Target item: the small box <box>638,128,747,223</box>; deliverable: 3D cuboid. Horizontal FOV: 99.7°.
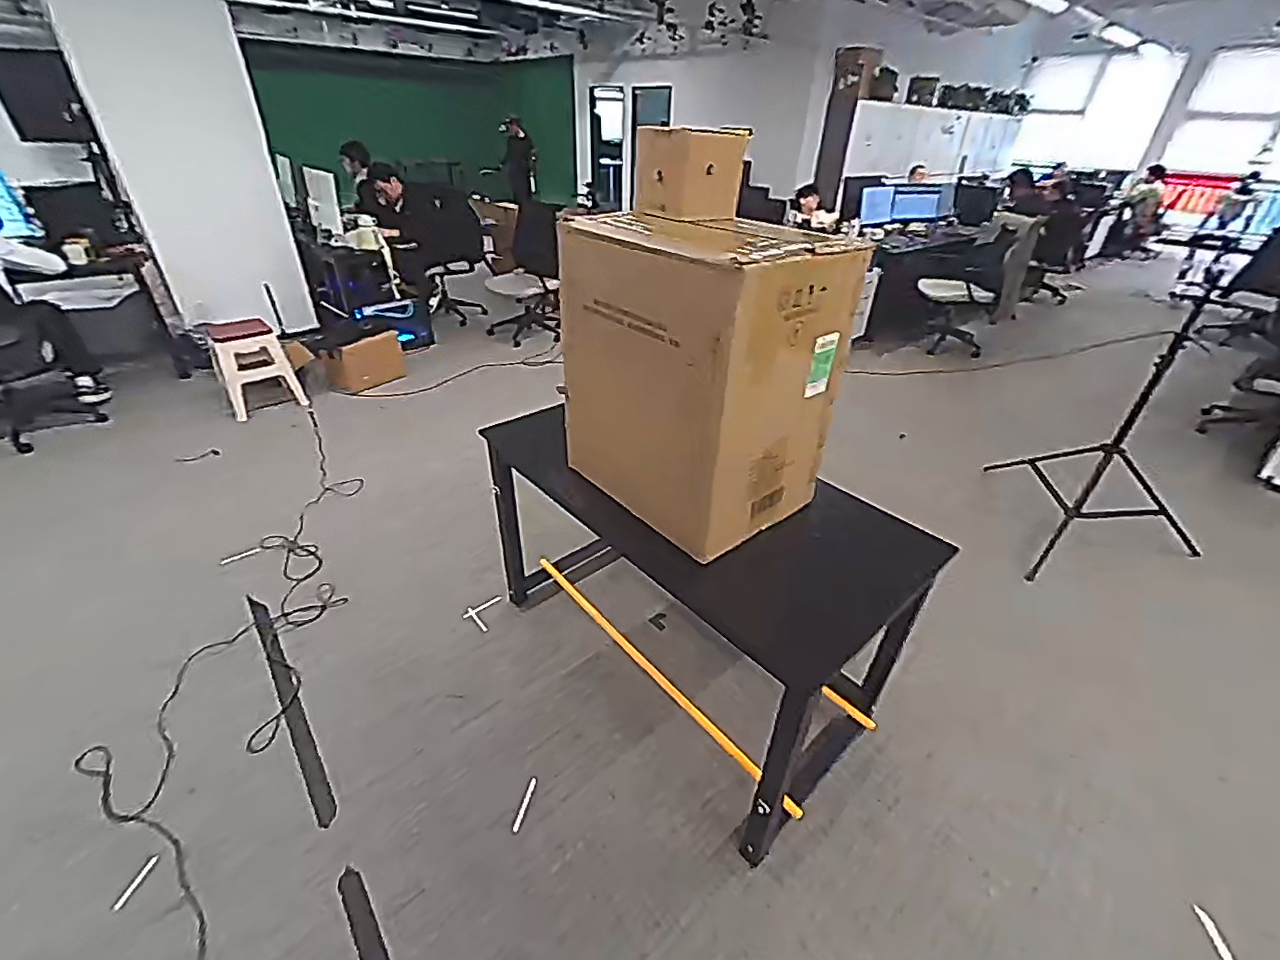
[{"bbox_3d":[0.111,-0.674,1.196,0.179,0.176,0.168,-23,42,-35],"label":"small box"}]
